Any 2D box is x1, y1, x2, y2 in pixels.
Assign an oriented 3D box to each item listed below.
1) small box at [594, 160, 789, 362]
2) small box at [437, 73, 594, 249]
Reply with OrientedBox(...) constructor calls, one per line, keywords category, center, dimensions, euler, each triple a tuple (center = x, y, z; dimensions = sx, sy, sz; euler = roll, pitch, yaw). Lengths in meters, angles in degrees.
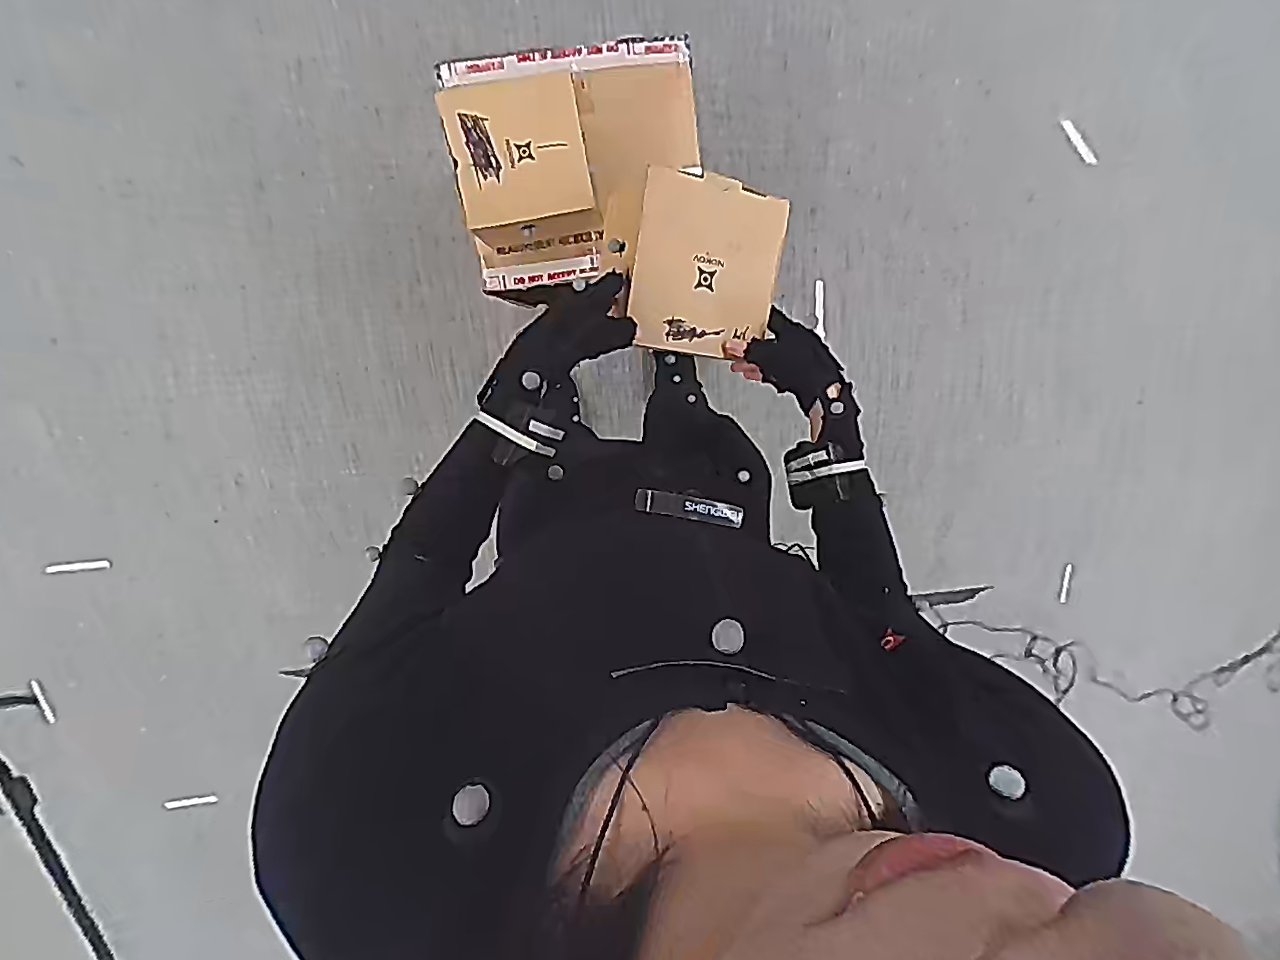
OrientedBox(category="small box", center=(0.048, -0.244, 0.645), dimensions=(0.168, 0.176, 0.179), euler=(4, 104, -19))
OrientedBox(category="small box", center=(-0.165, -0.443, 0.778), dimensions=(0.179, 0.176, 0.168), euler=(-11, 106, -2))
